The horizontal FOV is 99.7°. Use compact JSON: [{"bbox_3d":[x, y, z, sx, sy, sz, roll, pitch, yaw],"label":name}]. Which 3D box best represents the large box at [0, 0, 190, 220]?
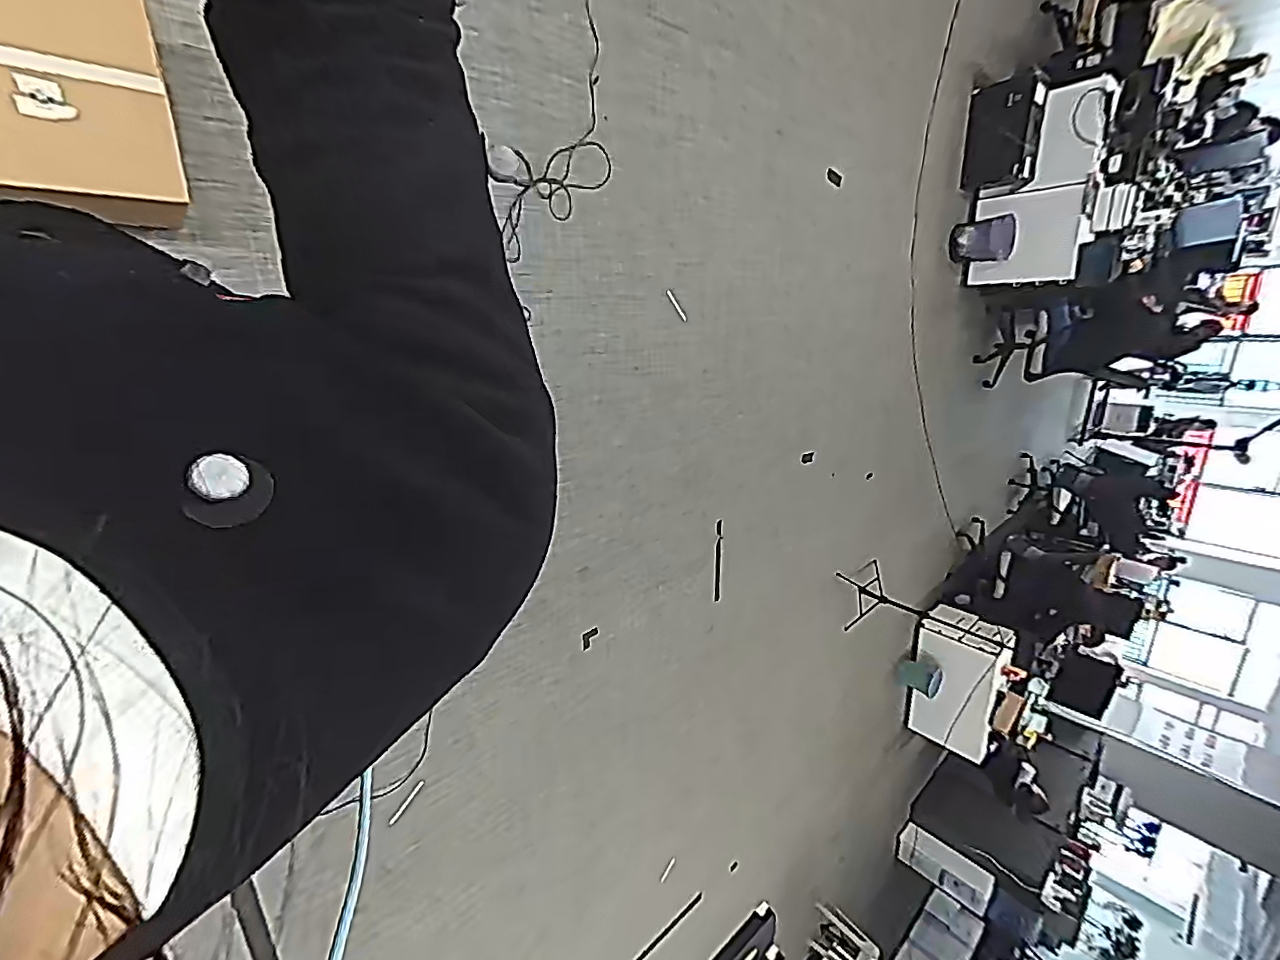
[{"bbox_3d":[-0.961,-0.585,0.790,0.408,0.320,0.320,-15,112,-40],"label":"large box"}]
